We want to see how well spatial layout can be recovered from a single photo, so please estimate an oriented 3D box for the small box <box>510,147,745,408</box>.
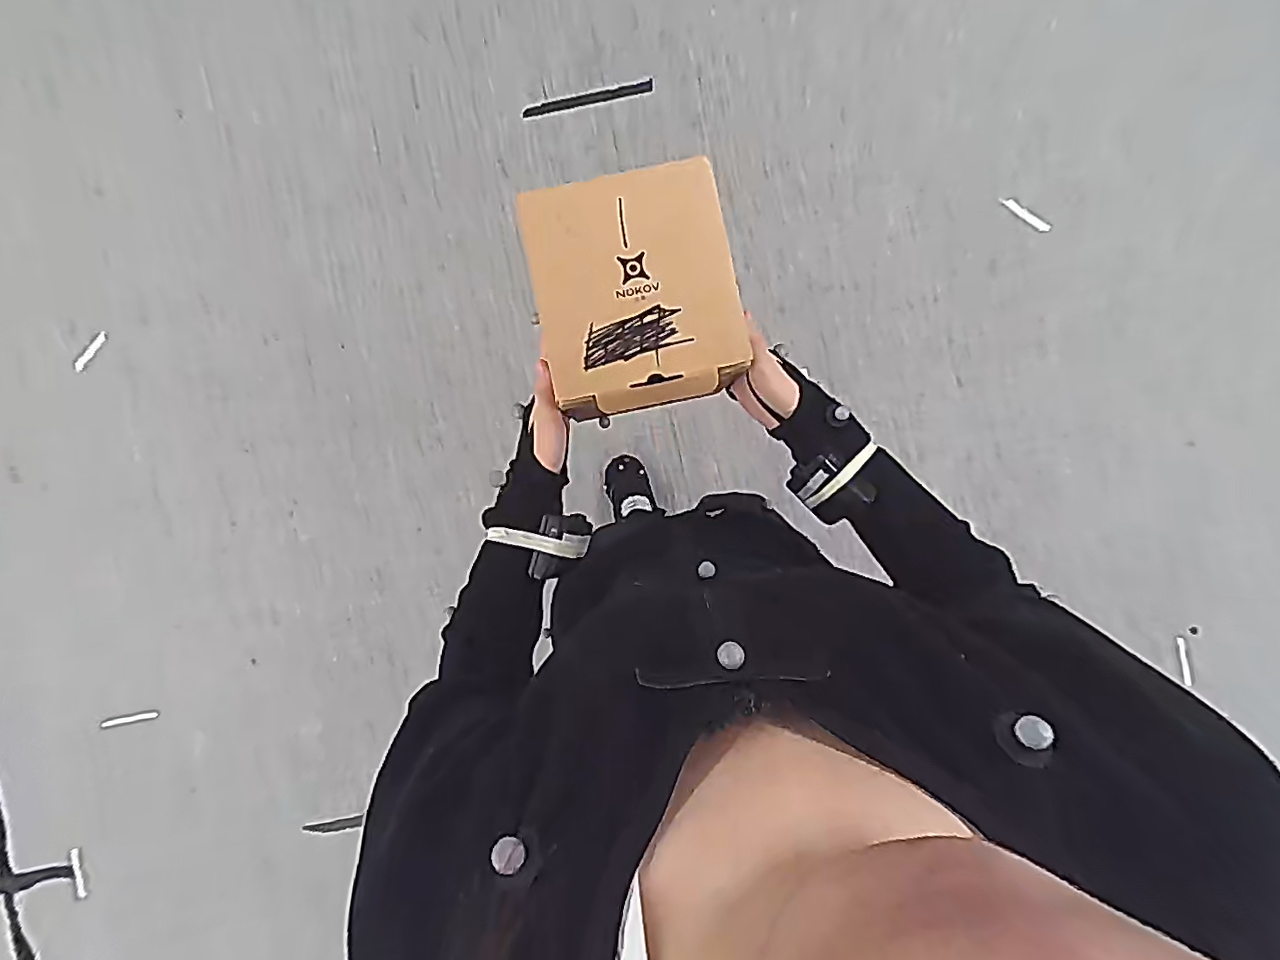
[{"bbox_3d":[-0.010,-0.170,0.516,0.168,0.176,0.179,-12,91,-1],"label":"small box"}]
